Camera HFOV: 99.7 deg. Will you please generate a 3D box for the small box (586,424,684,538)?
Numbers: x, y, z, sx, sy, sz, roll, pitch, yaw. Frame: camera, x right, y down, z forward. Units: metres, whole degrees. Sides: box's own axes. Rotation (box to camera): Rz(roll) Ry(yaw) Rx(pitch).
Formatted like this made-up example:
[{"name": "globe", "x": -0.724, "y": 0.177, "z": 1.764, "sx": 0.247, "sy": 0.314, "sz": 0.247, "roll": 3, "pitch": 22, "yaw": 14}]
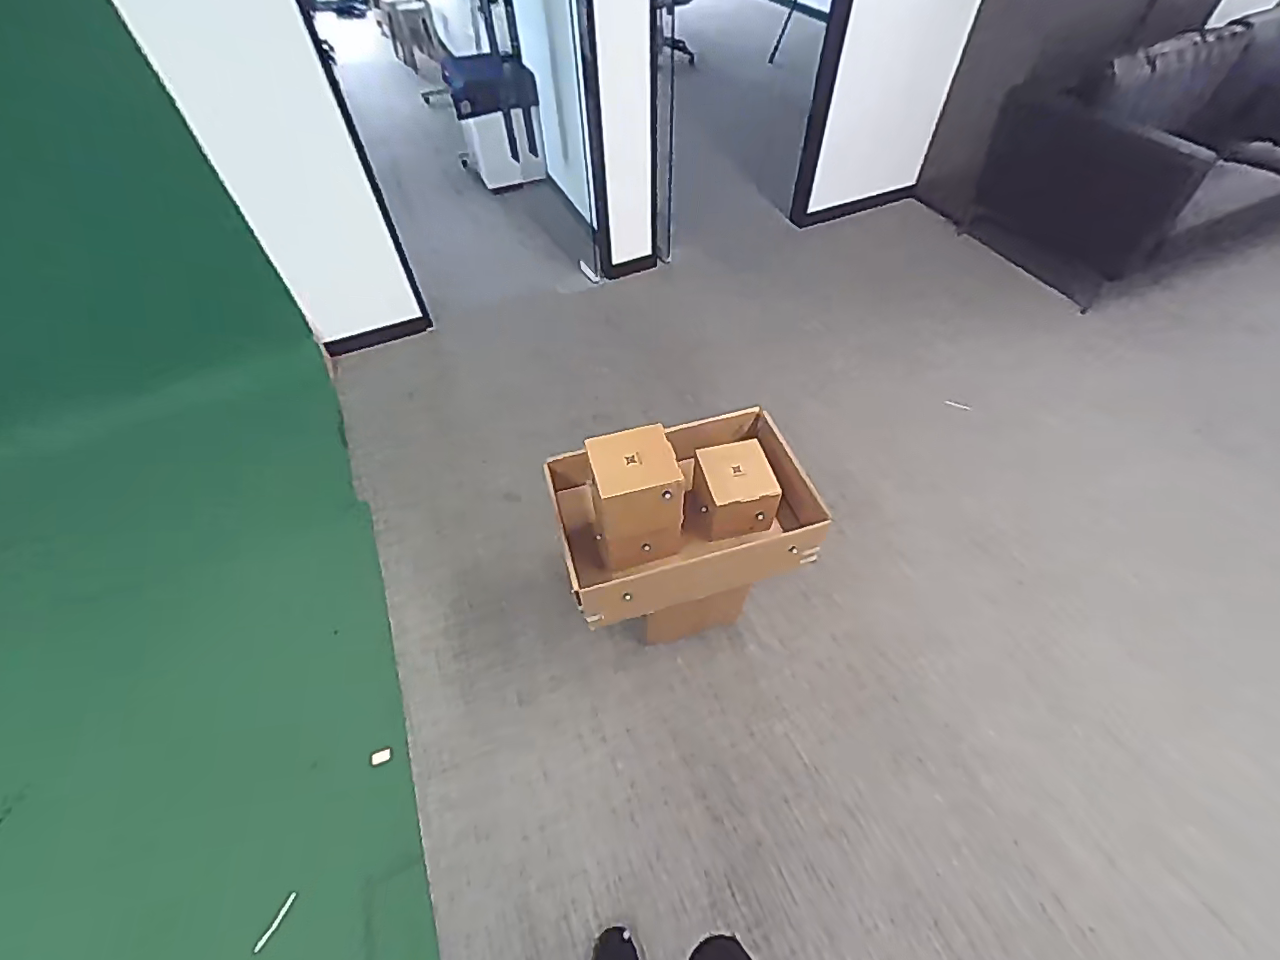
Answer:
[{"name": "small box", "x": -0.009, "y": 0.007, "z": 1.191, "sx": 0.179, "sy": 0.176, "sz": 0.168, "roll": -14, "pitch": 54, "yaw": -8}]
